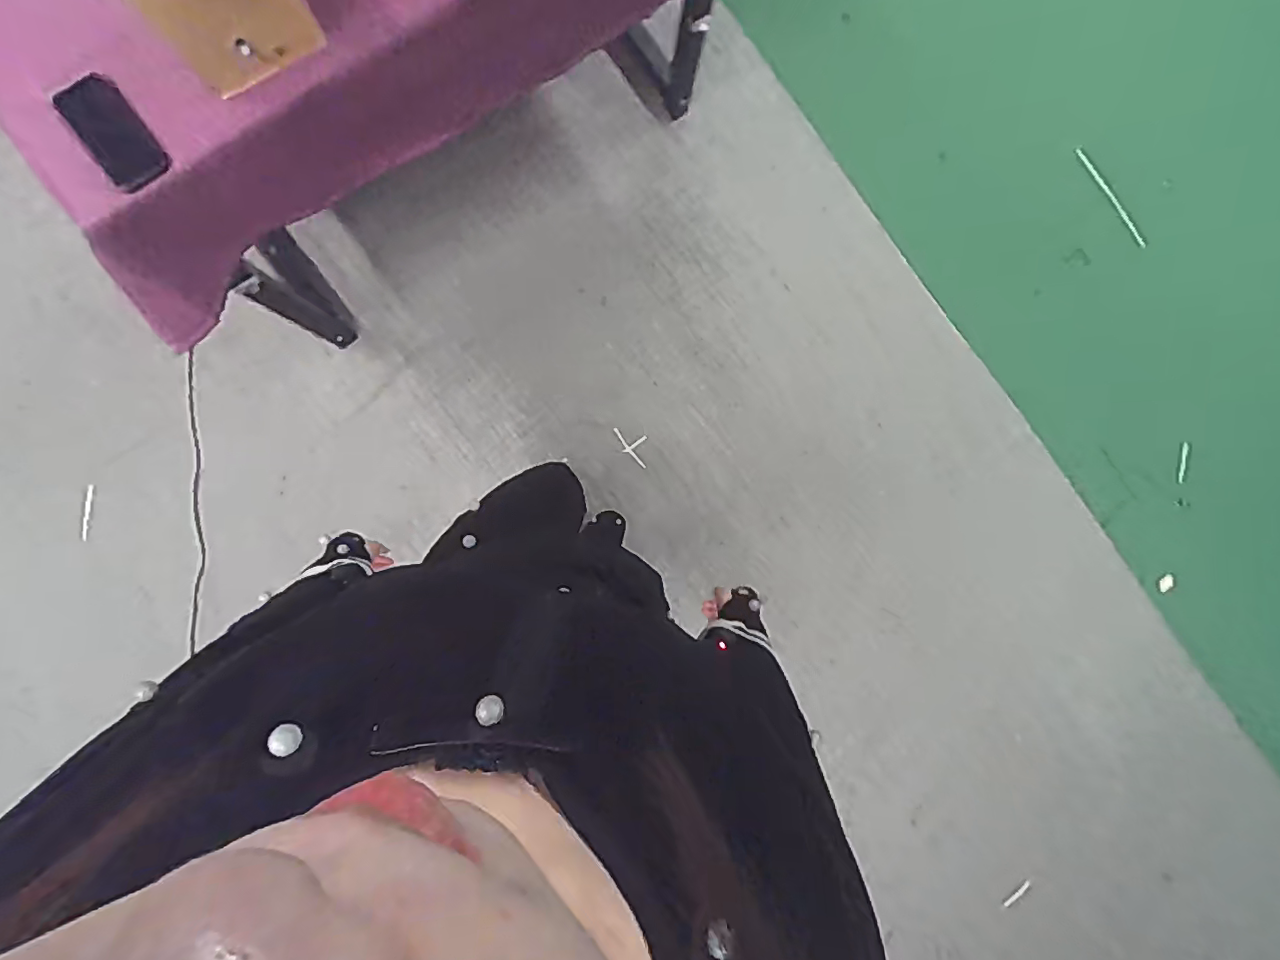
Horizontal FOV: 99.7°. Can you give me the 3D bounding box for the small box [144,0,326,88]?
[{"bbox_3d":[-0.532,-0.640,0.657,0.168,0.176,0.179,-32,93,-5],"label":"small box"}]
